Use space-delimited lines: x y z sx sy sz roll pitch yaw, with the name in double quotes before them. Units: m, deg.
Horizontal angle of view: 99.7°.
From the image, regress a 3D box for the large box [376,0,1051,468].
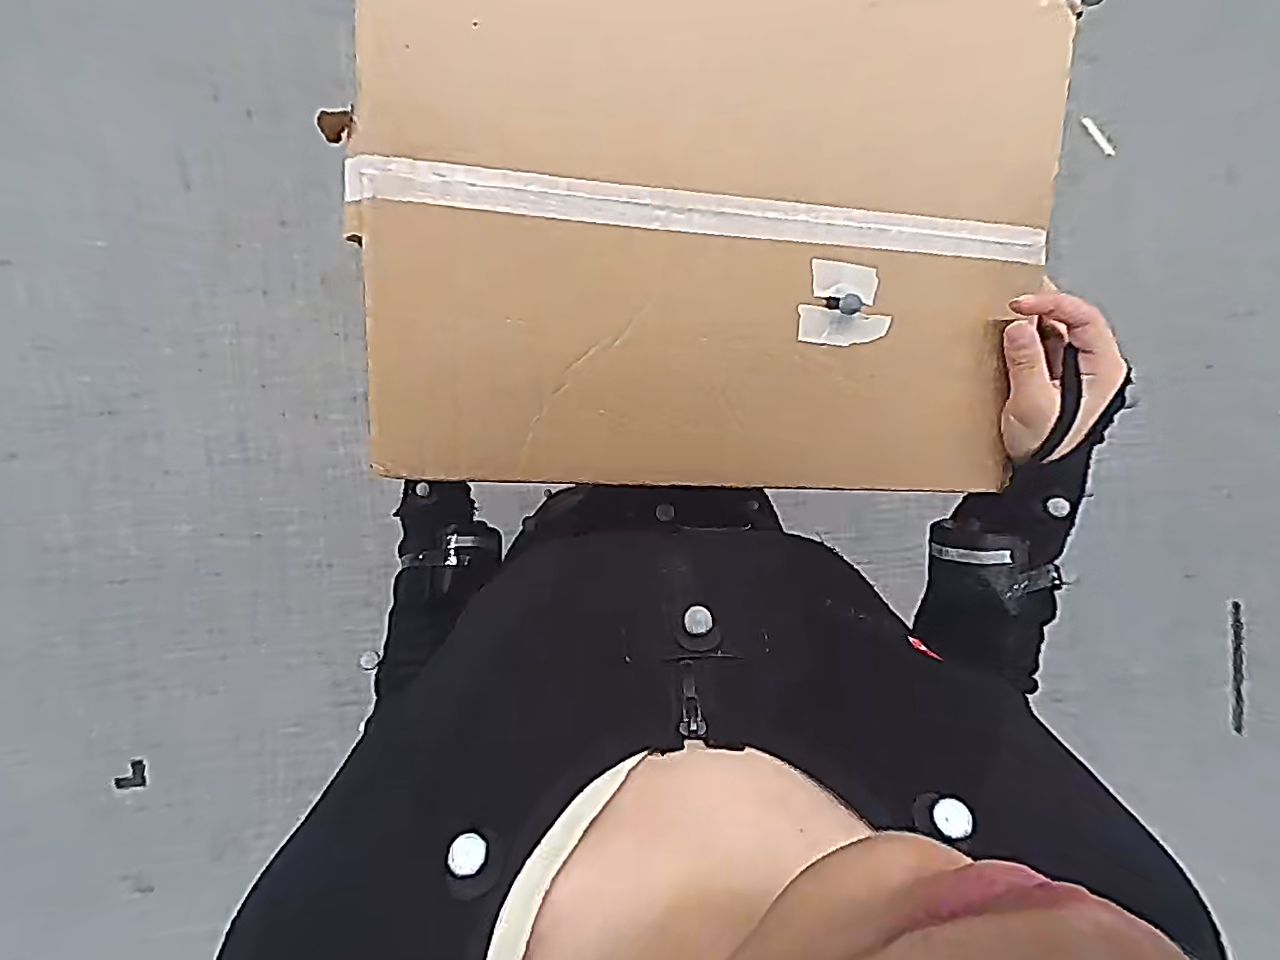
"large box" 0.030 -0.182 0.464 0.408 0.320 0.320 1 99 -11
